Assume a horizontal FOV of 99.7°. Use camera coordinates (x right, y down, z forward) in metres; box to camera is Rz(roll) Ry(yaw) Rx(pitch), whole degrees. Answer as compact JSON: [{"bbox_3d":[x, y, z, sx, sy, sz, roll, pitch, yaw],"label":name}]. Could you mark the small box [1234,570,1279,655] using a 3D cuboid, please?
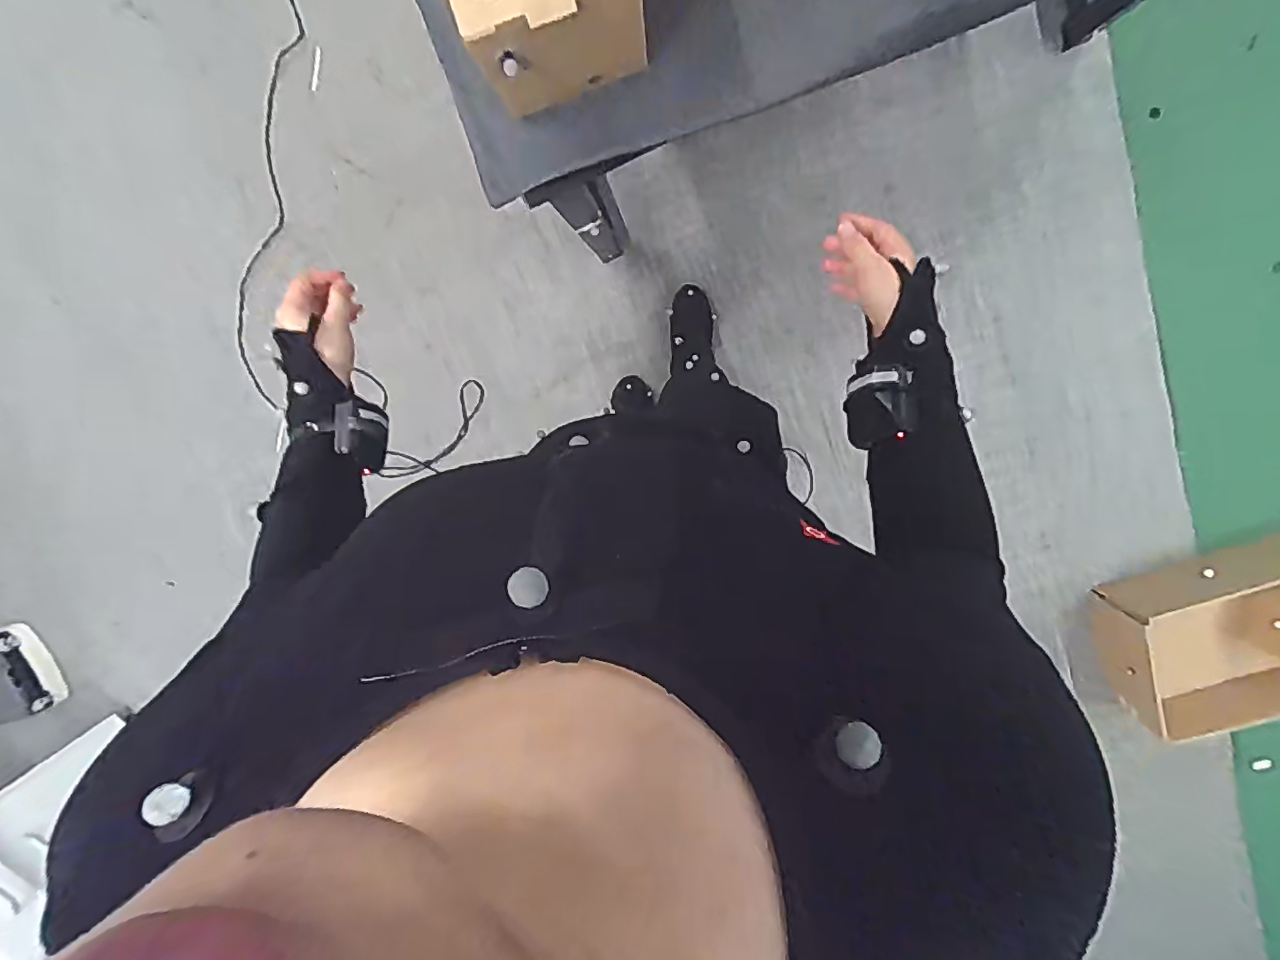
[{"bbox_3d":[1.703,0.345,1.390,0.168,0.176,0.179,-5,105,4],"label":"small box"}]
